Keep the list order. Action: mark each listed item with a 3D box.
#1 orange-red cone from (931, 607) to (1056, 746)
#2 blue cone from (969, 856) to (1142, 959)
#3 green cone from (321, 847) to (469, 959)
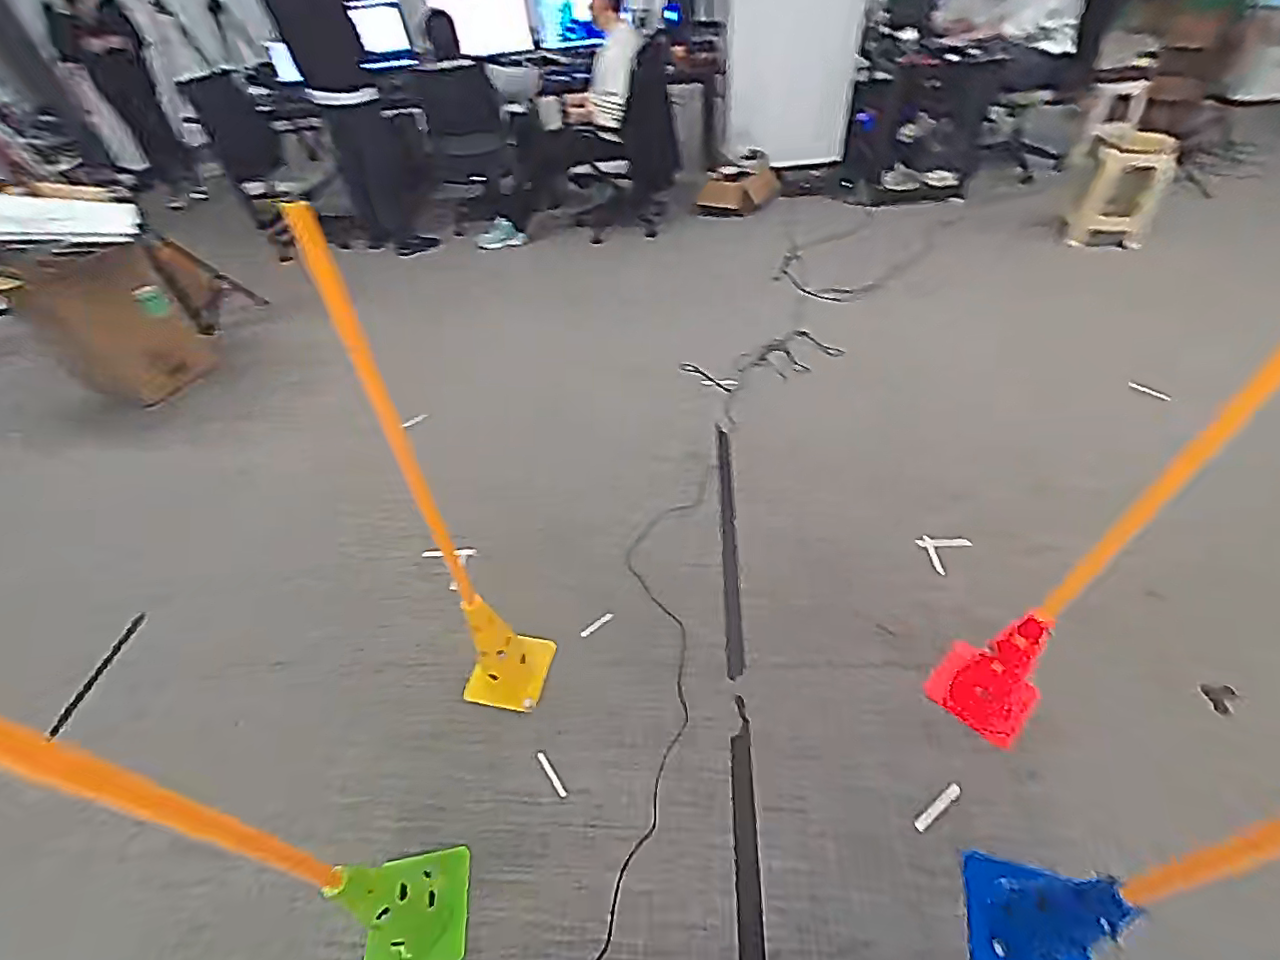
[{"bbox_3d":[0.817,0.391,1.182,0.199,0.360,0.198,-35,50,-24],"label":"orange-red cone"},{"bbox_3d":[0.712,0.710,0.892,0.193,0.380,0.192,10,46,17],"label":"blue cone"},{"bbox_3d":[-0.466,0.752,0.979,0.200,0.368,0.202,-11,43,-4],"label":"green cone"}]
